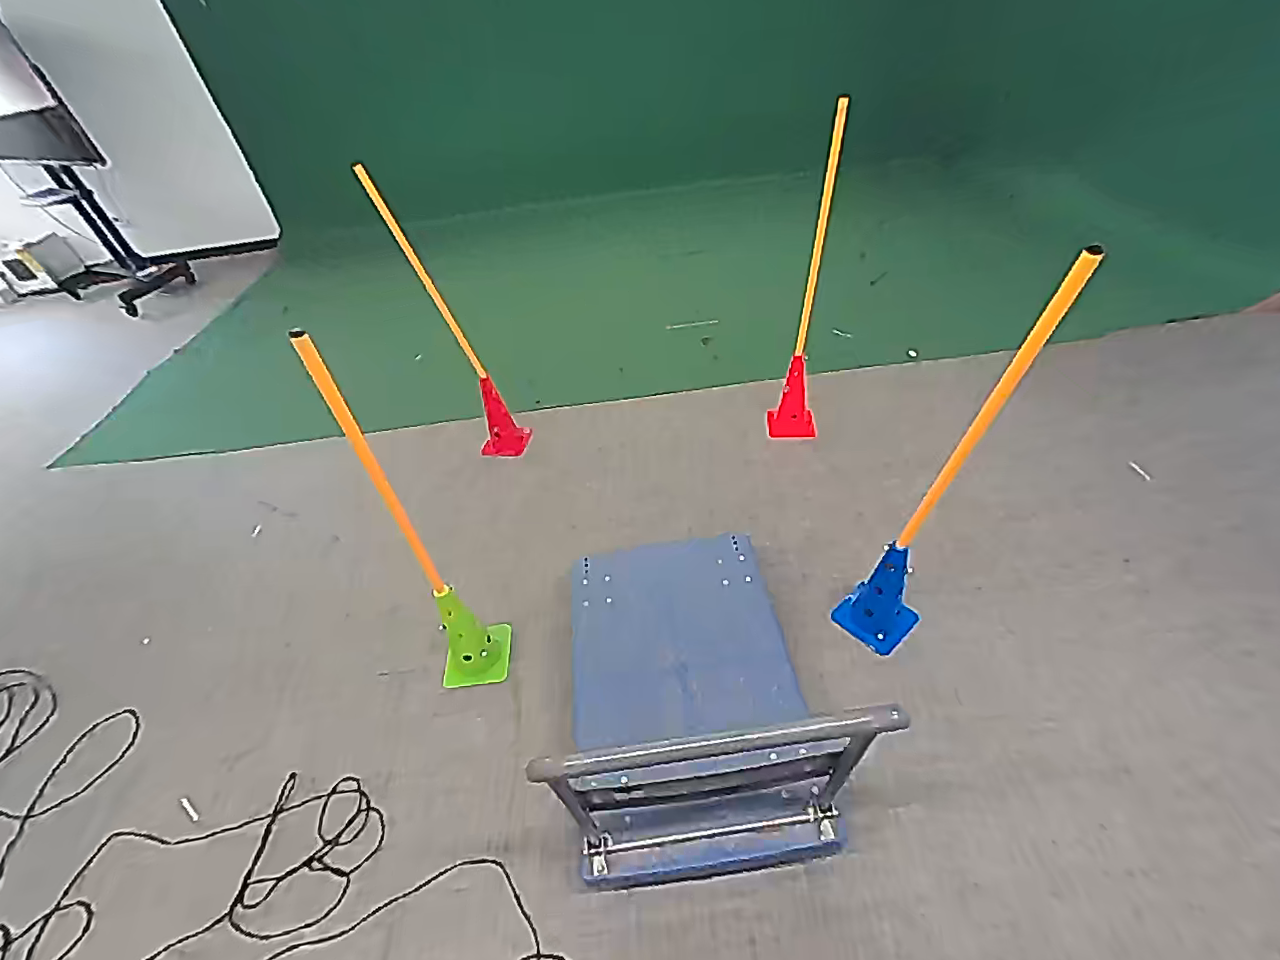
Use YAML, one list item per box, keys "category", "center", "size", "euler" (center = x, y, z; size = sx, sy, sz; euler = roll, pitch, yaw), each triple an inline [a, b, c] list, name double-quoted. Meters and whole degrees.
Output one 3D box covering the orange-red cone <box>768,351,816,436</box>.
- category: "orange-red cone"
  center: [0.647, -0.377, 2.265]
  size: [0.198, 0.360, 0.199]
  euler: [0, 45, 10]
